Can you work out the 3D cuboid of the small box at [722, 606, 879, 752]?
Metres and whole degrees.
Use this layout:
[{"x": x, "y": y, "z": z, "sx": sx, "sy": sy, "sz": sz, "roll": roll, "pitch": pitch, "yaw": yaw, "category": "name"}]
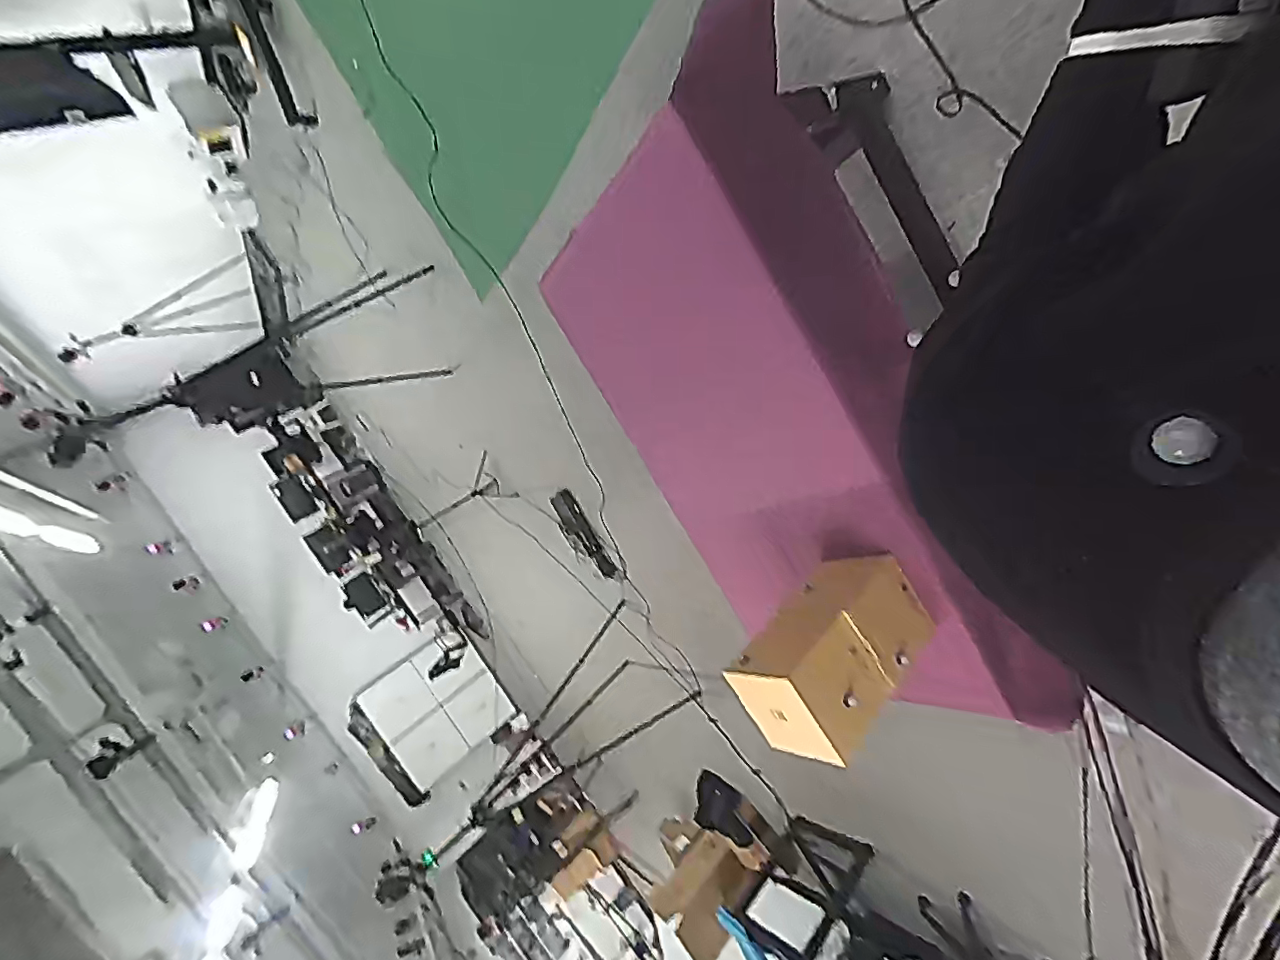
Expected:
[{"x": 0.286, "y": 0.335, "z": 0.945, "sx": 0.168, "sy": 0.176, "sz": 0.179, "roll": 57, "pitch": 151, "yaw": -3, "category": "small box"}]
